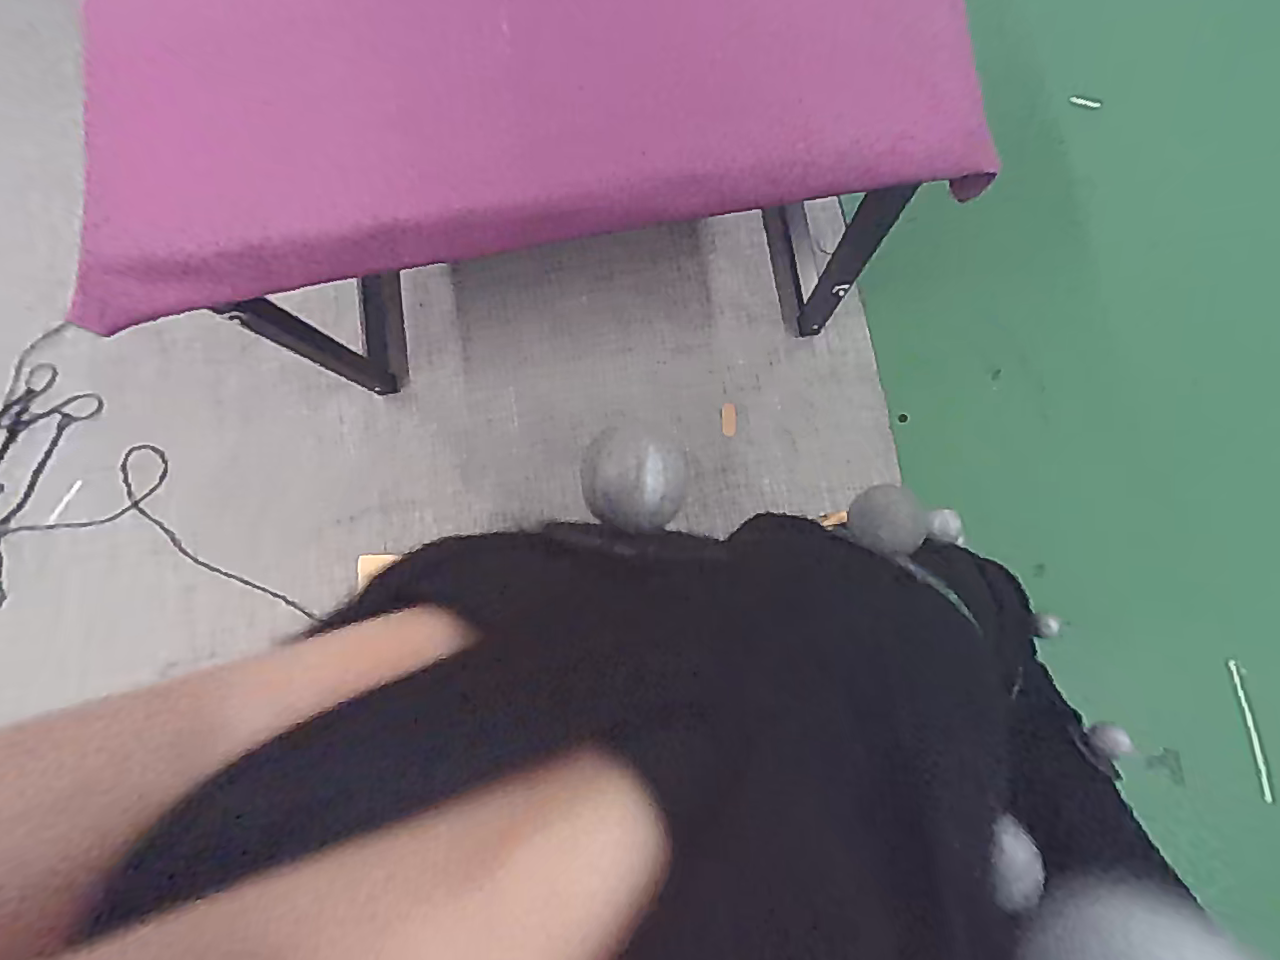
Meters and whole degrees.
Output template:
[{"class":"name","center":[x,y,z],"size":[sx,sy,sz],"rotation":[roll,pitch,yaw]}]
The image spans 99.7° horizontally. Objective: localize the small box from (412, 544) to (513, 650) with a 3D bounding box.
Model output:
[{"class":"small box","center":[-0.386,0.239,1.145],"size":[0.168,0.176,0.179],"rotation":[13,83,6]}]

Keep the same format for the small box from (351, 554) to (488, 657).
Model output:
[{"class":"small box","center":[-0.387,0.219,0.981],"size":[0.179,0.176,0.168],"rotation":[0,82,4]}]
